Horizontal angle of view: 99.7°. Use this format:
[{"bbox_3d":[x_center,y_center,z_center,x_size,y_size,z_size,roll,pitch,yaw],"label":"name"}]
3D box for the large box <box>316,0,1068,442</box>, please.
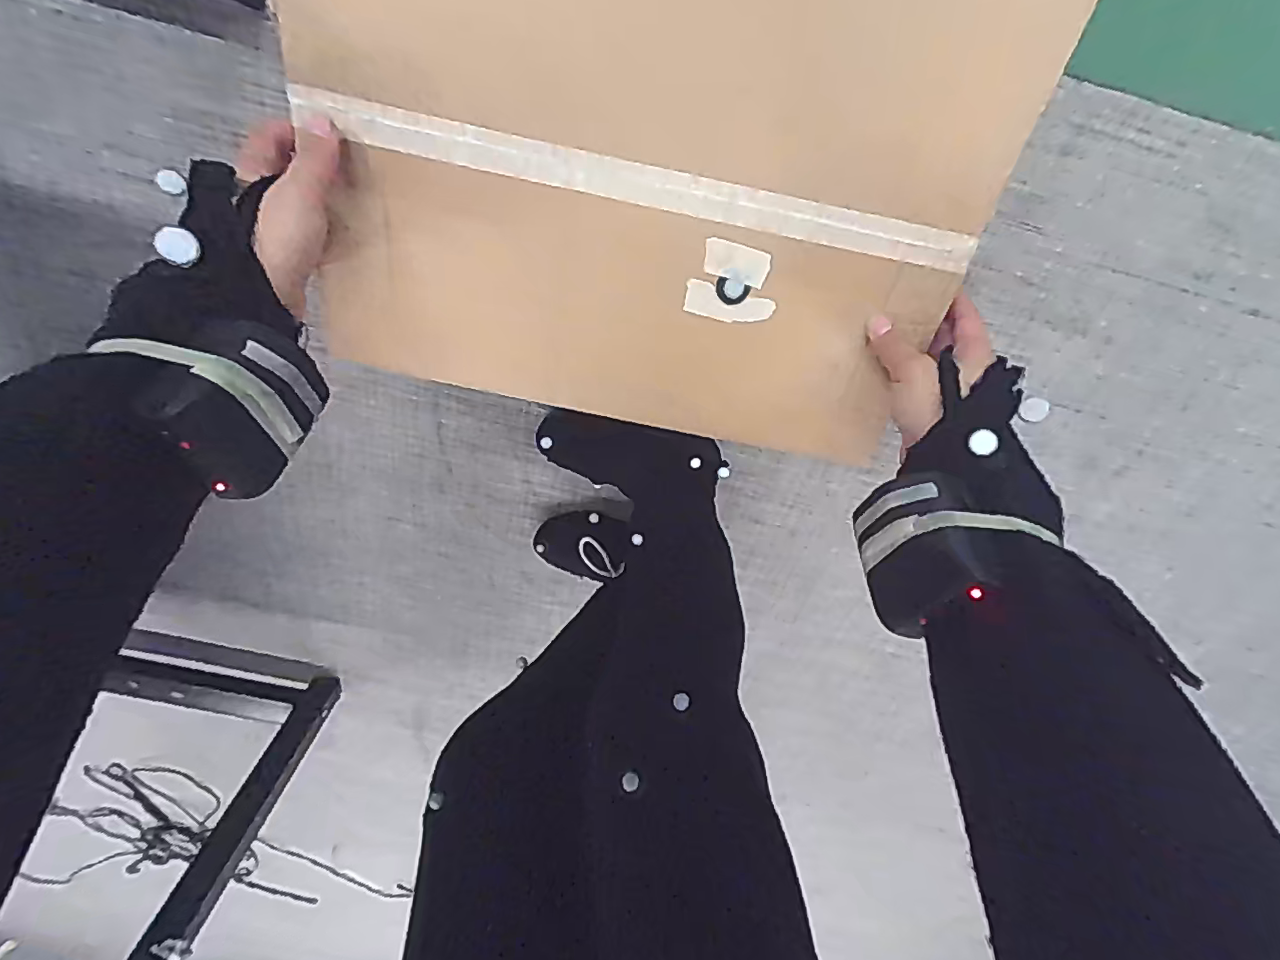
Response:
[{"bbox_3d":[0.014,-0.264,0.458,0.408,0.320,0.320,10,123,-3],"label":"large box"}]
